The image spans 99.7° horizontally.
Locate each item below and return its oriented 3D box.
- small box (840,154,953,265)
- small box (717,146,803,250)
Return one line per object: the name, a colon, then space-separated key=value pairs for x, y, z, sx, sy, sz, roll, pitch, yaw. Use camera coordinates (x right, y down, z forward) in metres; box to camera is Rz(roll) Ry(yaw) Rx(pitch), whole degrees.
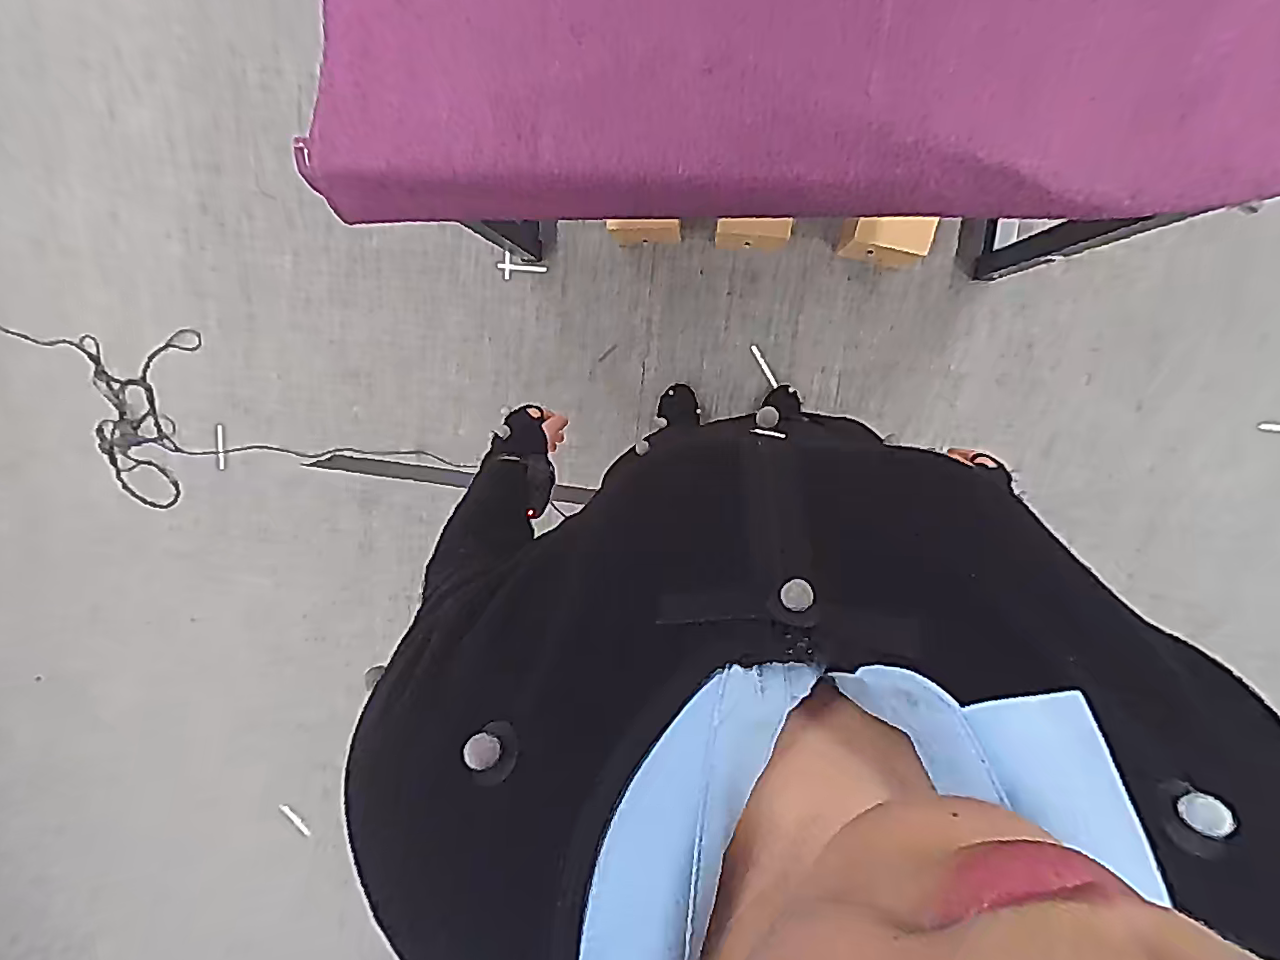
small box: x=0.578 y=-0.612 z=1.248 sx=0.168 sy=0.176 sz=0.179 roll=14 pitch=102 yaw=4
small box: x=0.273 y=-0.653 z=1.273 sx=0.168 sy=0.176 sz=0.179 roll=7 pitch=102 yaw=4
